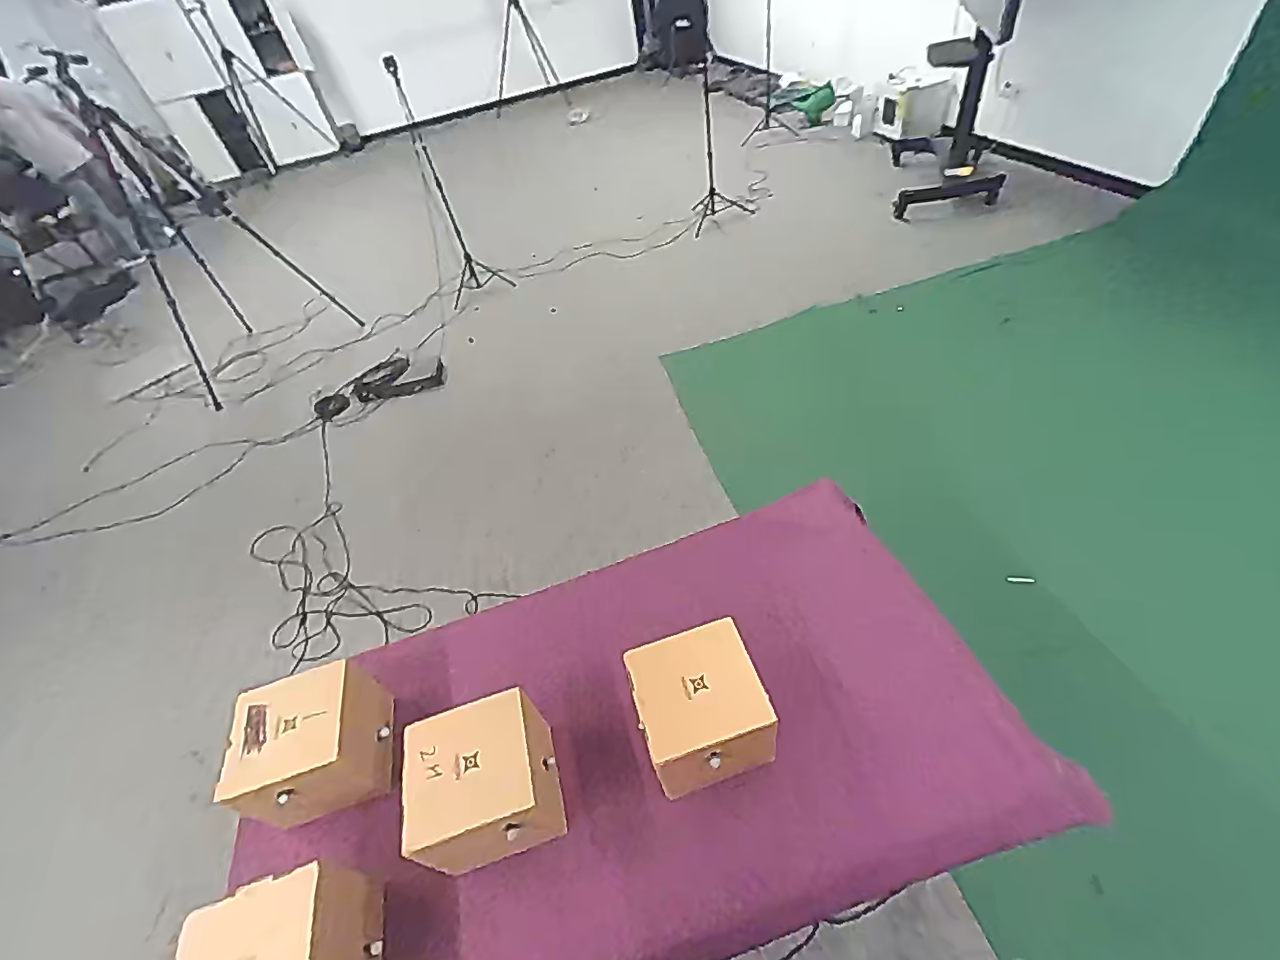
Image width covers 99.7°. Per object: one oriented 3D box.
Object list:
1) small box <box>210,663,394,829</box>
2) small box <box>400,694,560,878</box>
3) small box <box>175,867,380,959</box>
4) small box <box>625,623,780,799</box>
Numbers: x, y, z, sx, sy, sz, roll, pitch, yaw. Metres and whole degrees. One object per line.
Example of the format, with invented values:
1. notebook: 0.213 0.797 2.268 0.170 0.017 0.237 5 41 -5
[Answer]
1. small box: -0.521 0.427 0.863 0.179 0.176 0.168 -18 46 -6
2. small box: -0.223 0.443 0.783 0.179 0.176 0.168 -18 46 -5
3. small box: -0.439 0.620 0.661 0.168 0.176 0.179 -20 45 -6
4. small box: 0.092 0.347 0.809 0.179 0.176 0.168 -19 46 -4
